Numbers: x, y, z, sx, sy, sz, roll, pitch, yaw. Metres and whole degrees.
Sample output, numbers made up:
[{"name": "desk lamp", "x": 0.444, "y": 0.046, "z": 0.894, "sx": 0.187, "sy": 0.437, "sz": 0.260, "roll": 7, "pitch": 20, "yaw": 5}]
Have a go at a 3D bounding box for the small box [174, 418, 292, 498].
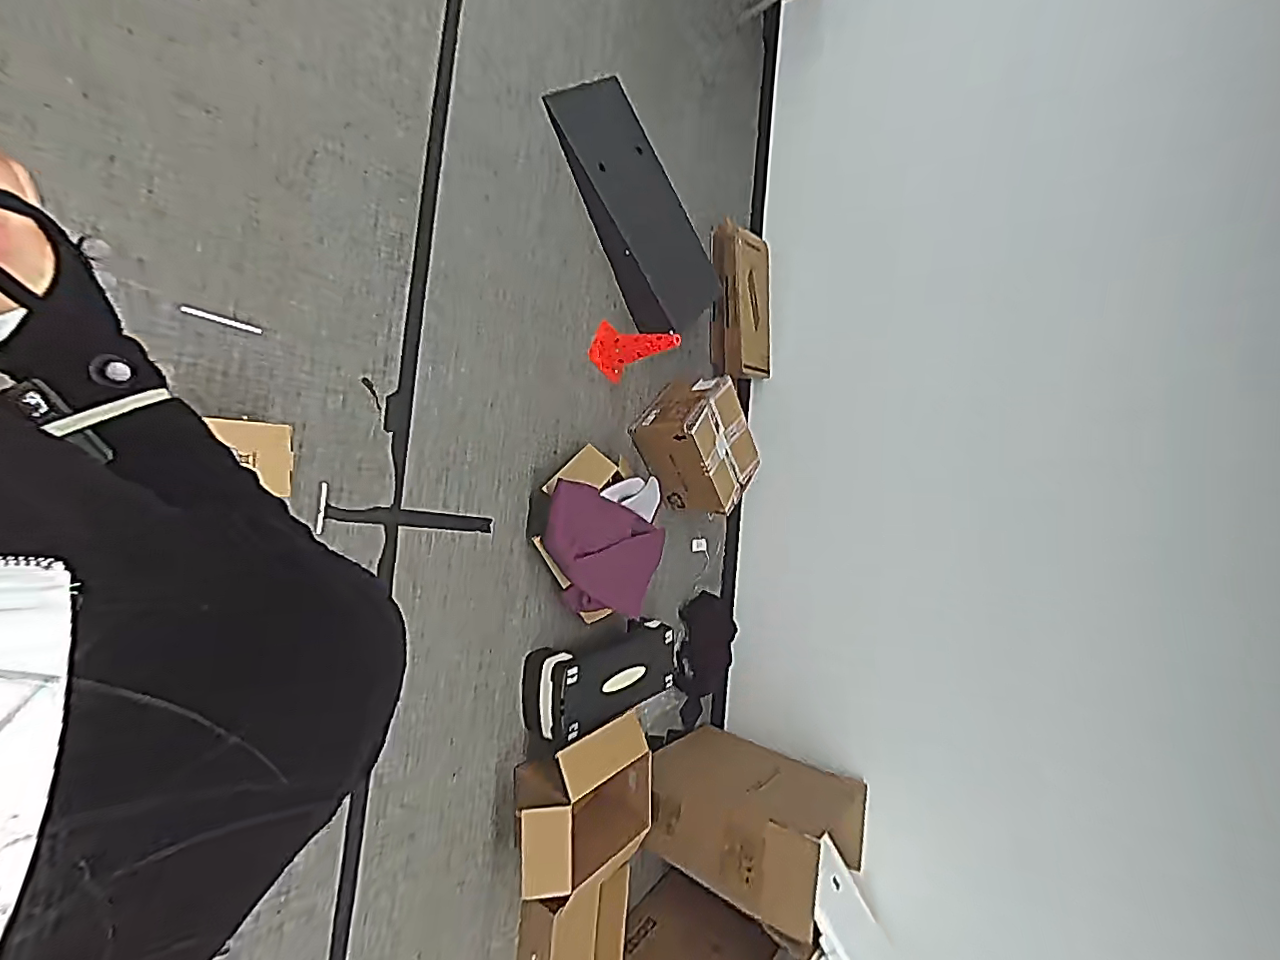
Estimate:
[{"name": "small box", "x": -0.906, "y": -0.045, "z": 1.205, "sx": 0.179, "sy": 0.176, "sz": 0.168, "roll": 2, "pitch": 89, "yaw": -49}]
